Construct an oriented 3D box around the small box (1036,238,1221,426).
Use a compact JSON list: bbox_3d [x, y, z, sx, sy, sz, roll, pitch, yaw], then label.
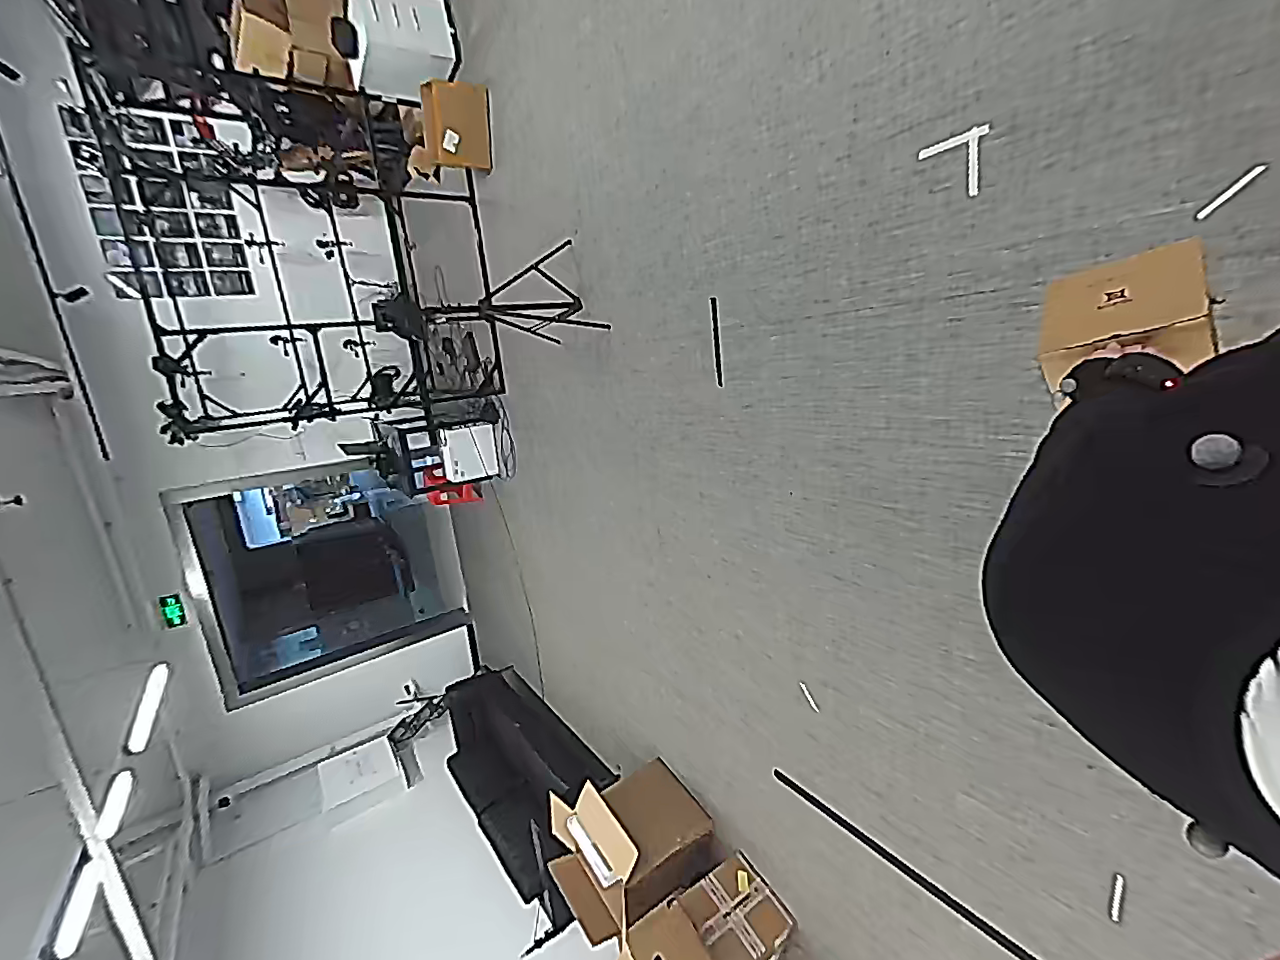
[{"bbox_3d":[0.685,-0.192,0.761,0.168,0.179,0.176,-8,133,48],"label":"small box"}]
